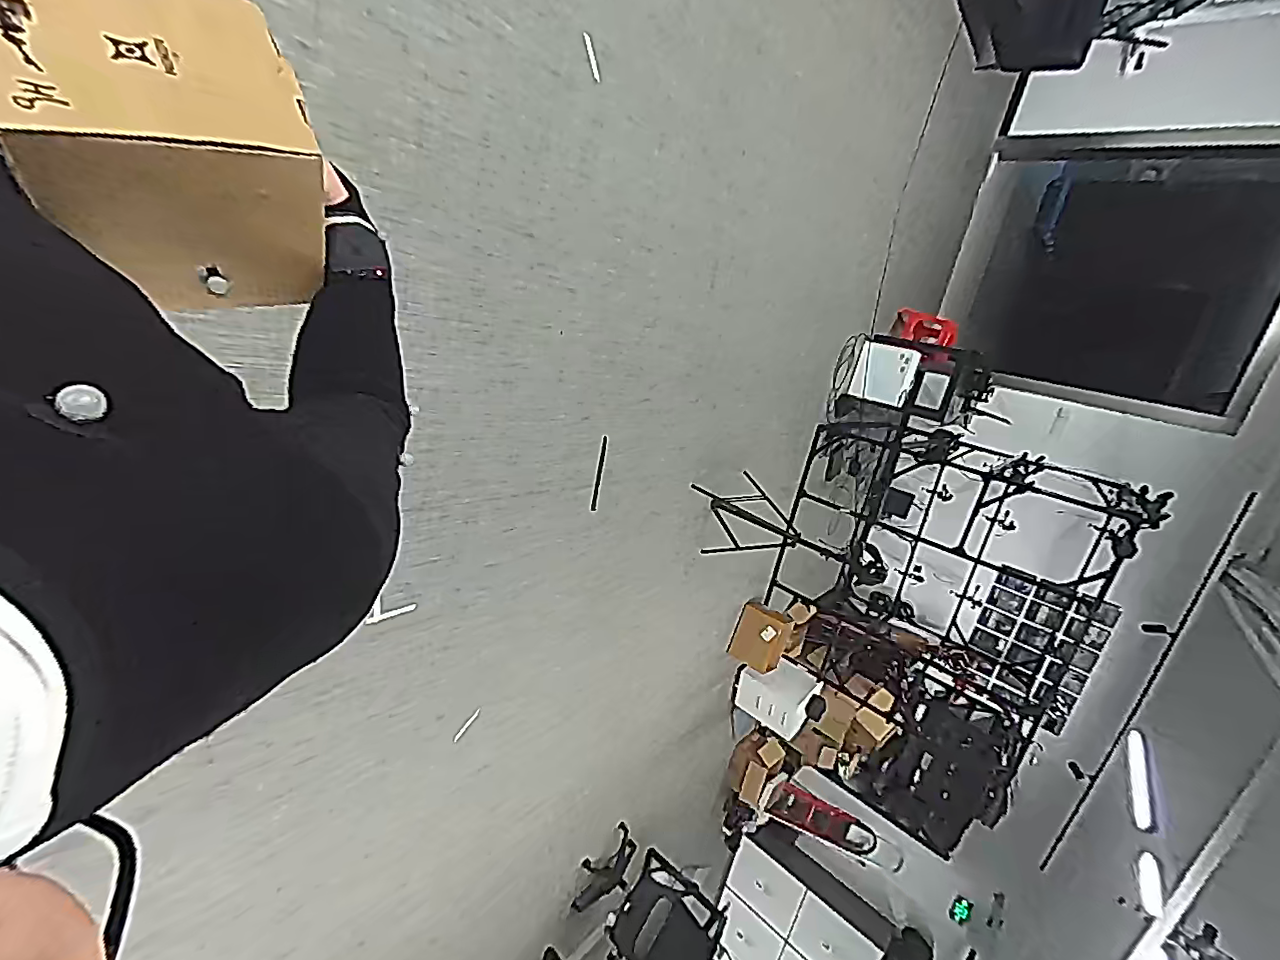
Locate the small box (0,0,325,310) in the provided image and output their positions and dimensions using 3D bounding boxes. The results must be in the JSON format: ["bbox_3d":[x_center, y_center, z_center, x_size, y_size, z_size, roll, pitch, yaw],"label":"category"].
[{"bbox_3d":[-0.390,-0.266,0.459,0.179,0.168,0.176,-18,164,-36],"label":"small box"}]
